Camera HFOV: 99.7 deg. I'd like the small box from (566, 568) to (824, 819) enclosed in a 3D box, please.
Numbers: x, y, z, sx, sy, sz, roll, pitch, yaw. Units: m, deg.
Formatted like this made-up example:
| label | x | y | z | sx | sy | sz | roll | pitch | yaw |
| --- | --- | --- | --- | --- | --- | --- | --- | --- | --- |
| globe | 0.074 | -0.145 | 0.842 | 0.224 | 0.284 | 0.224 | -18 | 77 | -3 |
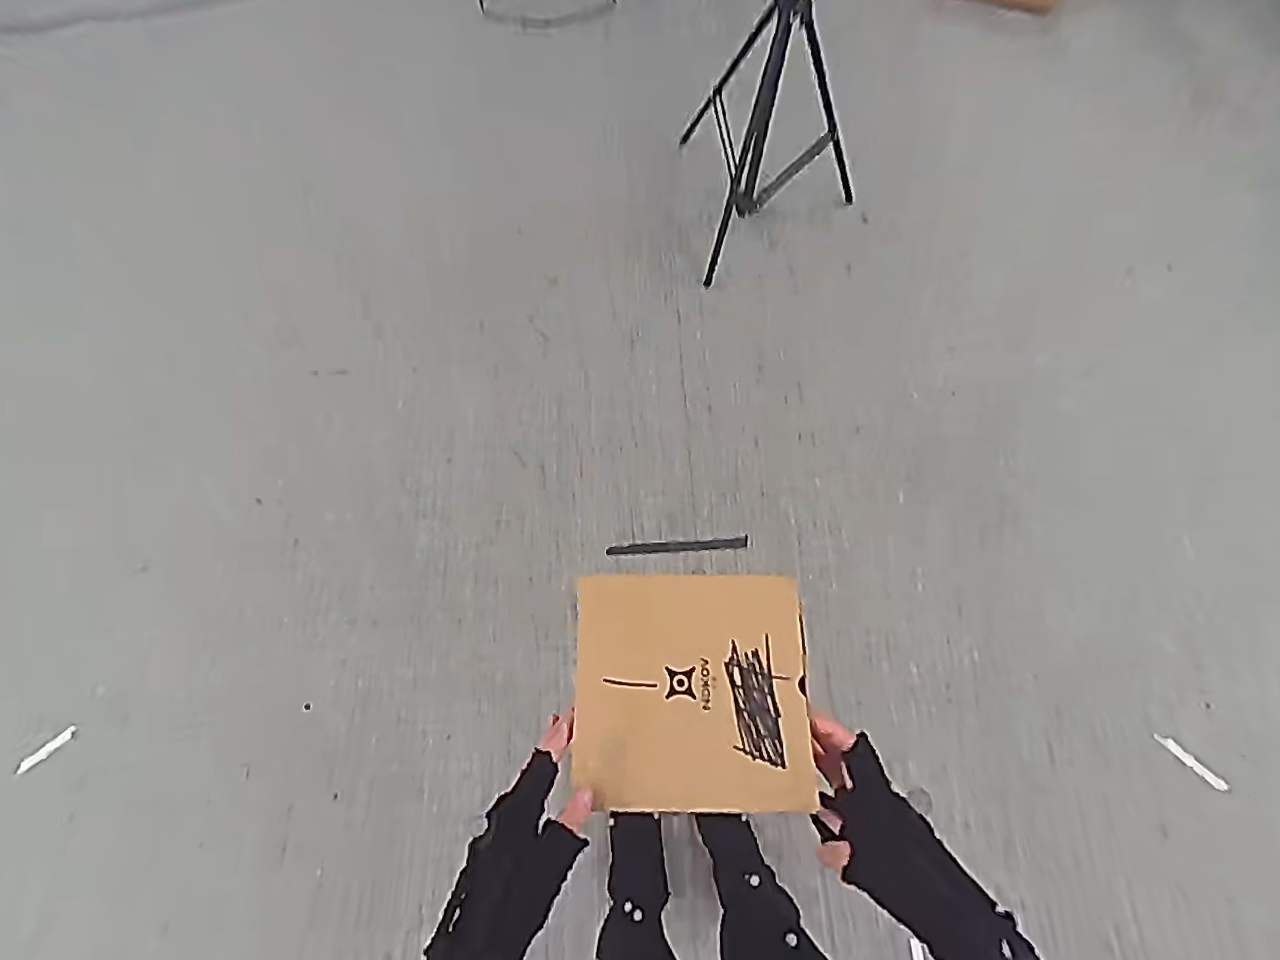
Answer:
| label | x | y | z | sx | sy | sz | roll | pitch | yaw |
| --- | --- | --- | --- | --- | --- | --- | --- | --- | --- |
| small box | 0.039 | 0.174 | 0.462 | 0.179 | 0.176 | 0.168 | 1 | 69 | 1 |
